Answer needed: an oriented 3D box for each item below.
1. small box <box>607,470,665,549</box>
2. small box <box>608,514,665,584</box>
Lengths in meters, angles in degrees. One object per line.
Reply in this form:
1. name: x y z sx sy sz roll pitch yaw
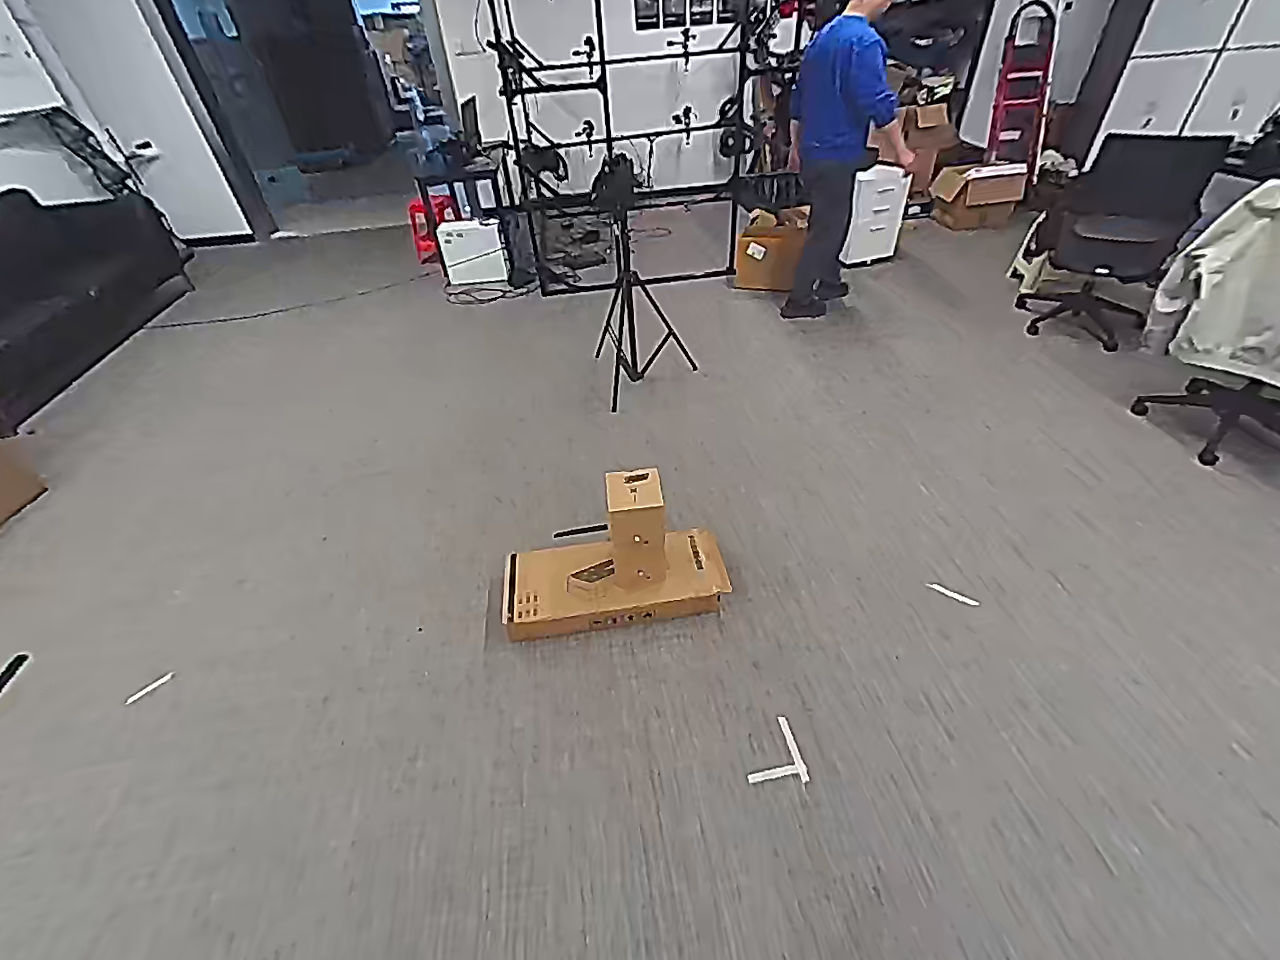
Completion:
1. small box: -0.013 0.091 1.691 0.168 0.176 0.179 -6 40 -2
2. small box: -0.012 0.219 1.795 0.168 0.176 0.179 -9 40 -4
